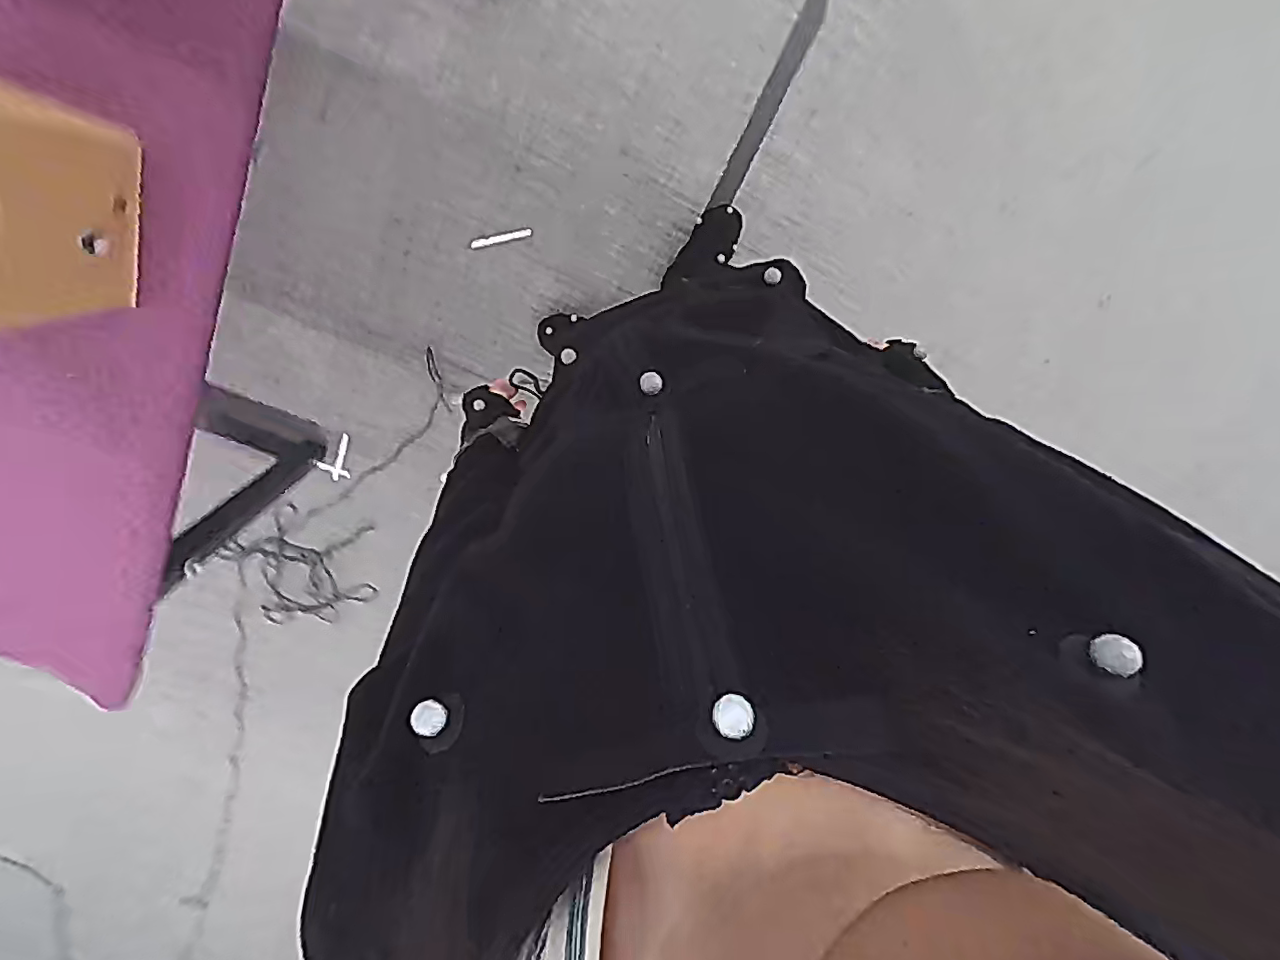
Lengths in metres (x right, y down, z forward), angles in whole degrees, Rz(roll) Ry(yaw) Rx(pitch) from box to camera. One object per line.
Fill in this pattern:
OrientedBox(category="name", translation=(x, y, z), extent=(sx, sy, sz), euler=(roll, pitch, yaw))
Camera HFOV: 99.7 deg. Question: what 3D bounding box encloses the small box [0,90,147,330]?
OrientedBox(category="small box", translation=(-0.567, -0.234, 0.444), extent=(0.179, 0.176, 0.168), euler=(17, 112, -14))
